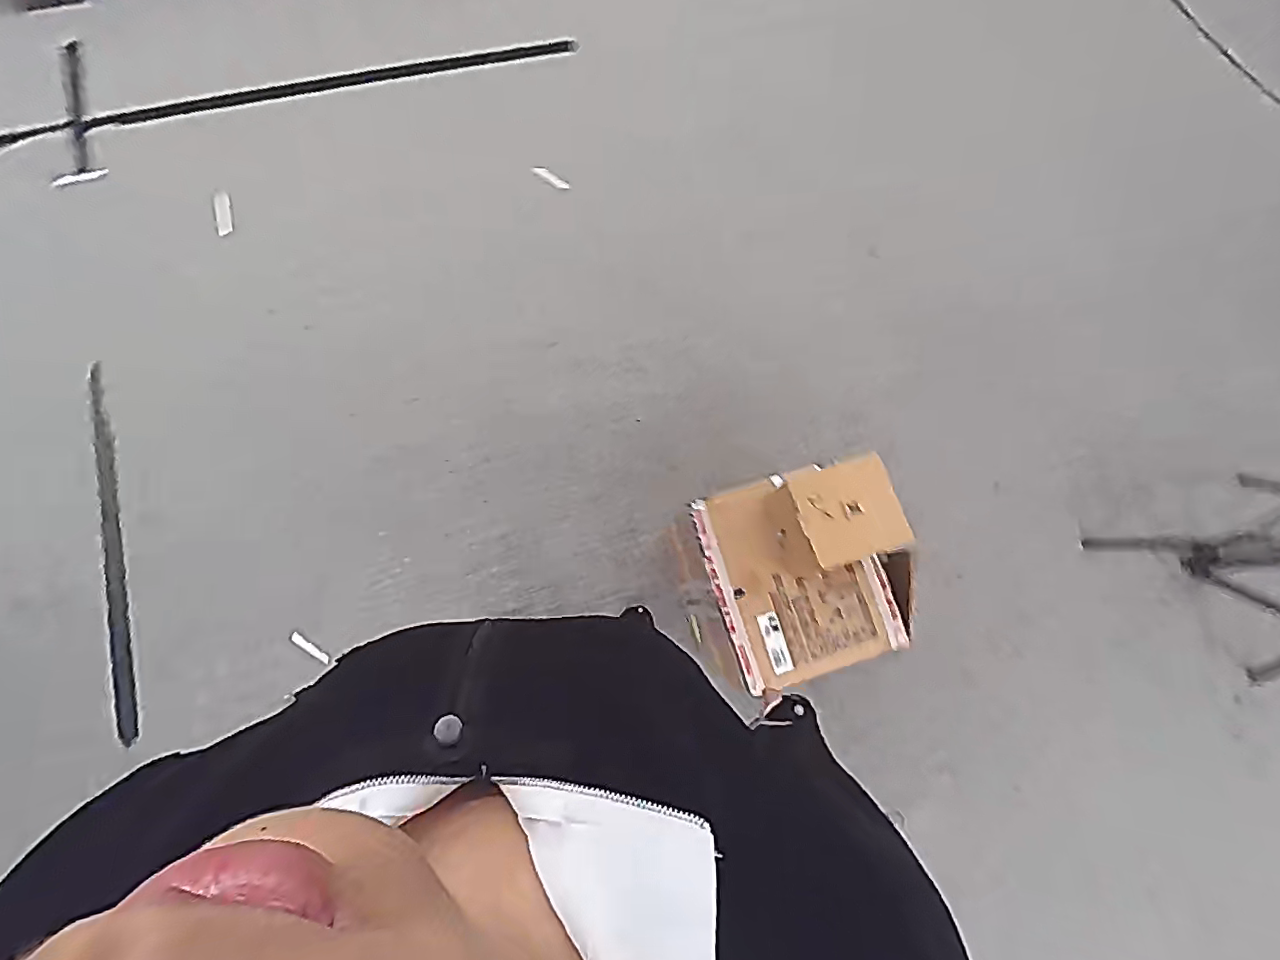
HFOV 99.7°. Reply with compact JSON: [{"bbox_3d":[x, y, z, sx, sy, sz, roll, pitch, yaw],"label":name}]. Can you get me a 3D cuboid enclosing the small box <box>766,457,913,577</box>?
[{"bbox_3d":[0.355,0.075,0.997,0.179,0.176,0.168,-16,77,-5],"label":"small box"}]
